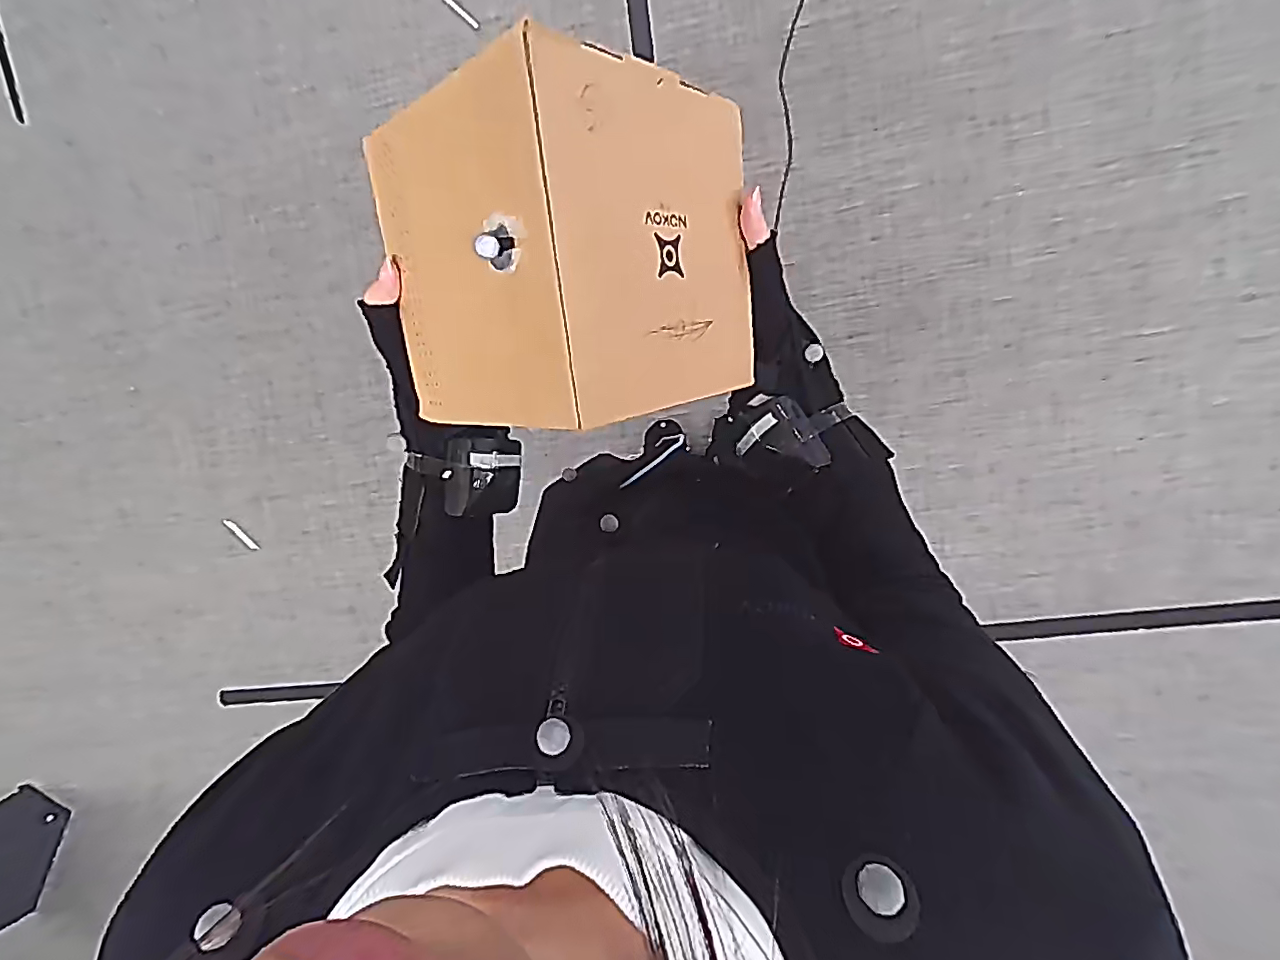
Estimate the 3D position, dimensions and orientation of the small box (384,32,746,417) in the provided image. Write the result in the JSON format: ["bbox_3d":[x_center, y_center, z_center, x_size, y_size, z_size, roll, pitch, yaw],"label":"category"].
[{"bbox_3d":[-0.047,-0.140,0.365,0.176,0.168,0.179,8,110,42],"label":"small box"}]
